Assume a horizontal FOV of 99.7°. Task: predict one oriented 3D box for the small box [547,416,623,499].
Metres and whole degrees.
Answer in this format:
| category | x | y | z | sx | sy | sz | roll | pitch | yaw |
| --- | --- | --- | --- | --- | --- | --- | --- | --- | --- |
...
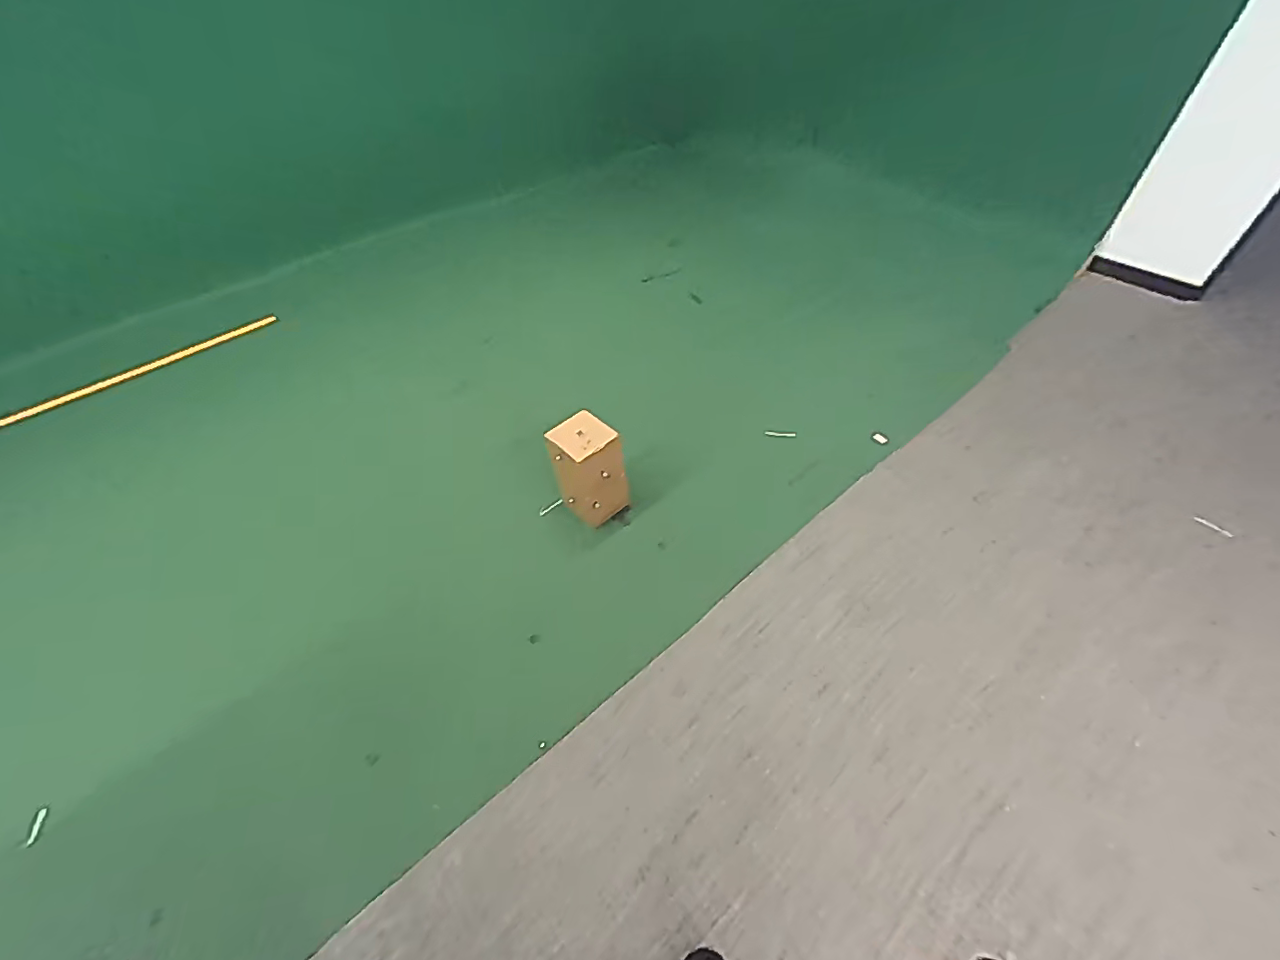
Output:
| category | x | y | z | sx | sy | sz | roll | pitch | yaw |
| --- | --- | --- | --- | --- | --- | --- | --- | --- | --- |
| small box | -0.174 | -0.070 | 1.740 | 0.168 | 0.176 | 0.179 | -37 | 56 | -25 |
